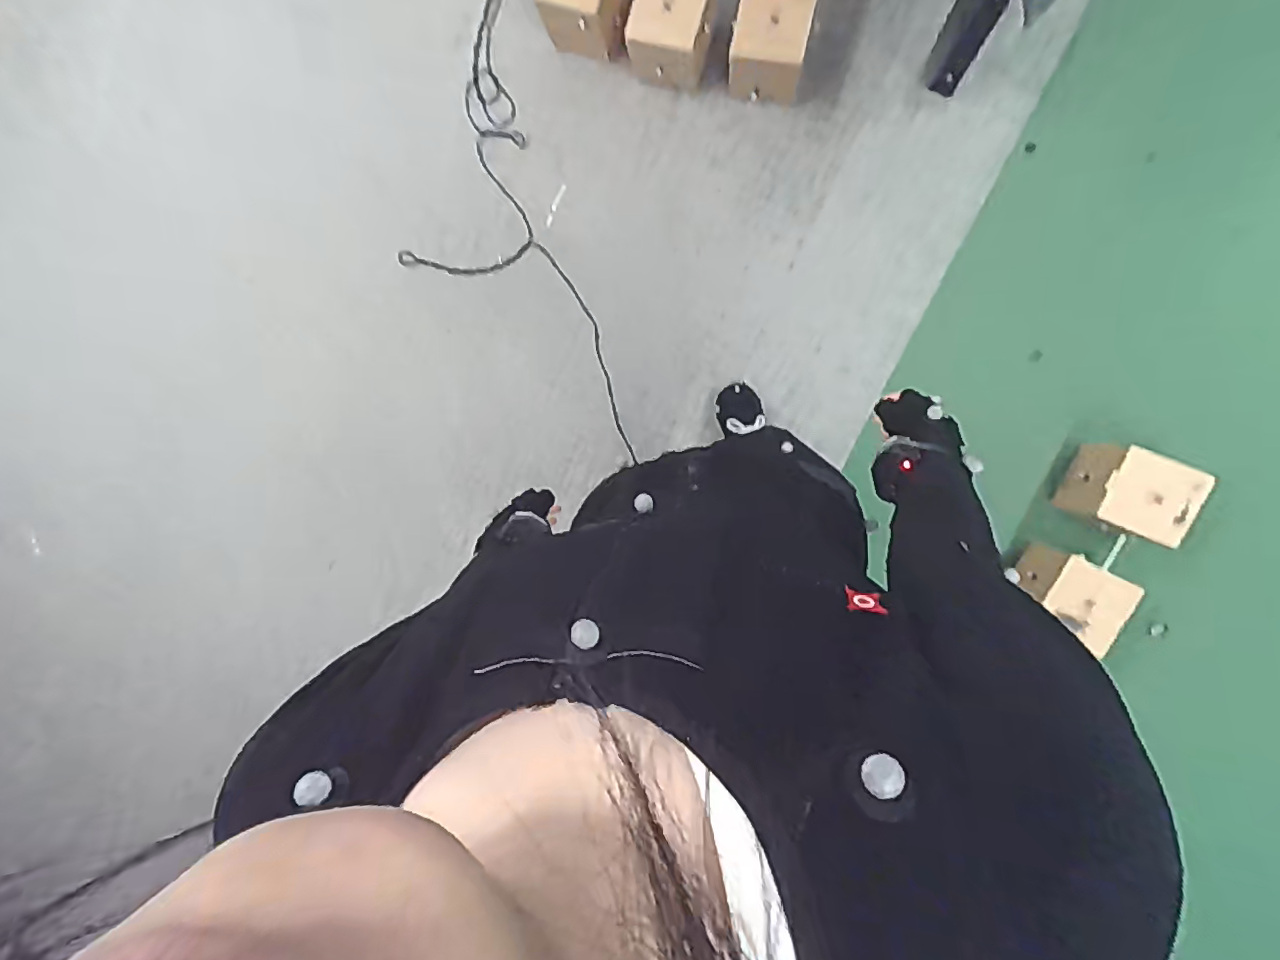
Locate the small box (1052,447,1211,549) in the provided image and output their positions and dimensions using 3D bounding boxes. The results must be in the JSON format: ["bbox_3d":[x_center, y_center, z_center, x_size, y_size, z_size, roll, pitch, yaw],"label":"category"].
[{"bbox_3d":[1.092,0.036,1.223,0.179,0.176,0.168,25,98,8],"label":"small box"}]

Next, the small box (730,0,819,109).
[{"bbox_3d":[0.308,-1.016,1.264,0.168,0.176,0.179,14,97,8],"label":"small box"}]
